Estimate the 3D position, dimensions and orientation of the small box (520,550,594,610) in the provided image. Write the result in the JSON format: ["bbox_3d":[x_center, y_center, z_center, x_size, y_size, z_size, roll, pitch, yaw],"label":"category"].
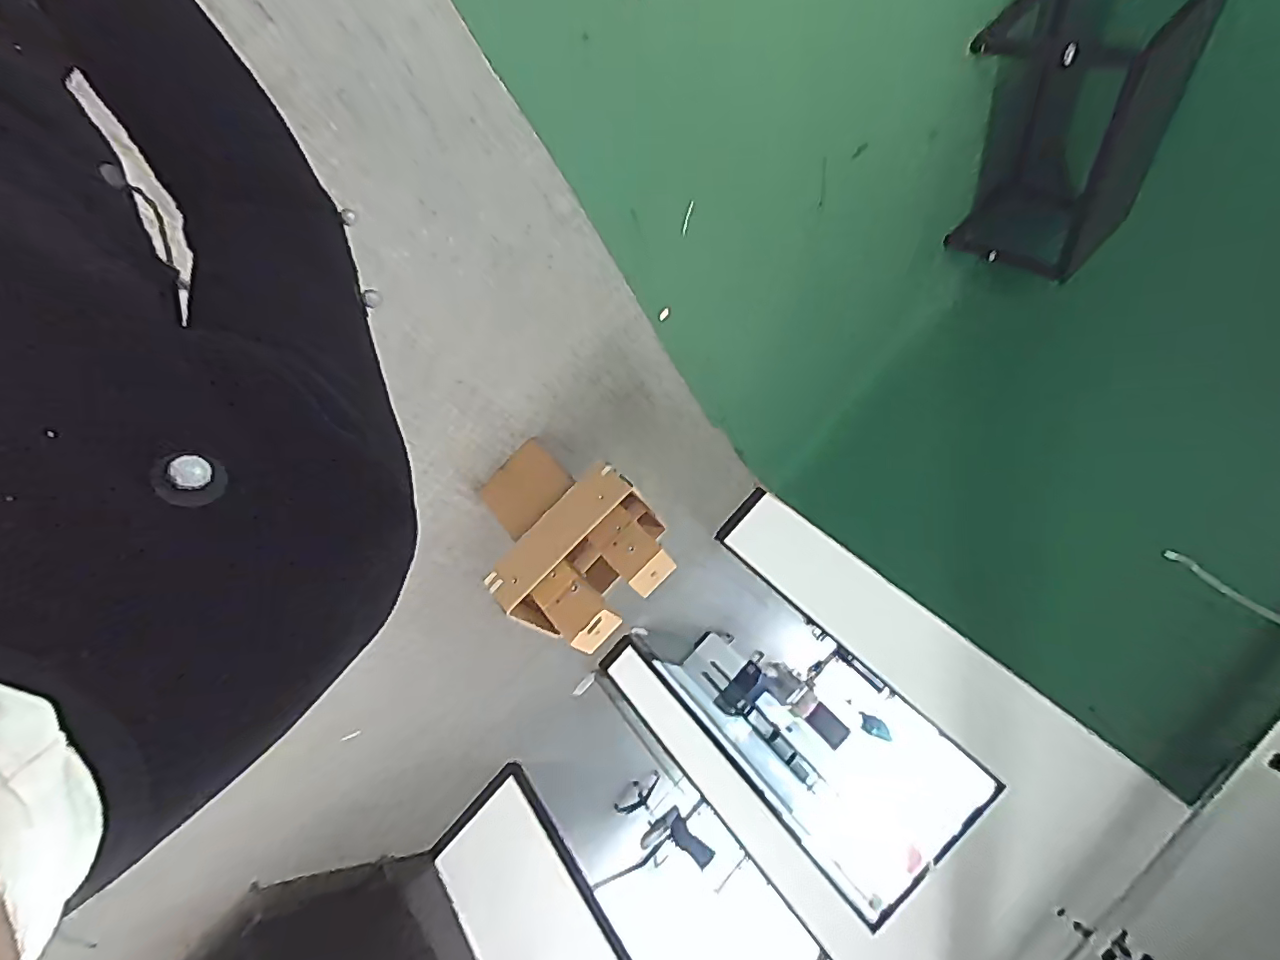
[{"bbox_3d":[-0.308,0.383,1.991,0.168,0.176,0.179,-45,146,-5],"label":"small box"}]

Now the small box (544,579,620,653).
[{"bbox_3d":[-0.207,0.474,1.900,0.168,0.176,0.179,-45,146,-5],"label":"small box"}]

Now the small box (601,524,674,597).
[{"bbox_3d":[-0.012,0.279,1.919,0.168,0.176,0.179,-44,145,-6],"label":"small box"}]

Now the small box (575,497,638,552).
[{"bbox_3d":[-0.109,0.190,2.018,0.168,0.176,0.179,-45,146,-8],"label":"small box"}]
